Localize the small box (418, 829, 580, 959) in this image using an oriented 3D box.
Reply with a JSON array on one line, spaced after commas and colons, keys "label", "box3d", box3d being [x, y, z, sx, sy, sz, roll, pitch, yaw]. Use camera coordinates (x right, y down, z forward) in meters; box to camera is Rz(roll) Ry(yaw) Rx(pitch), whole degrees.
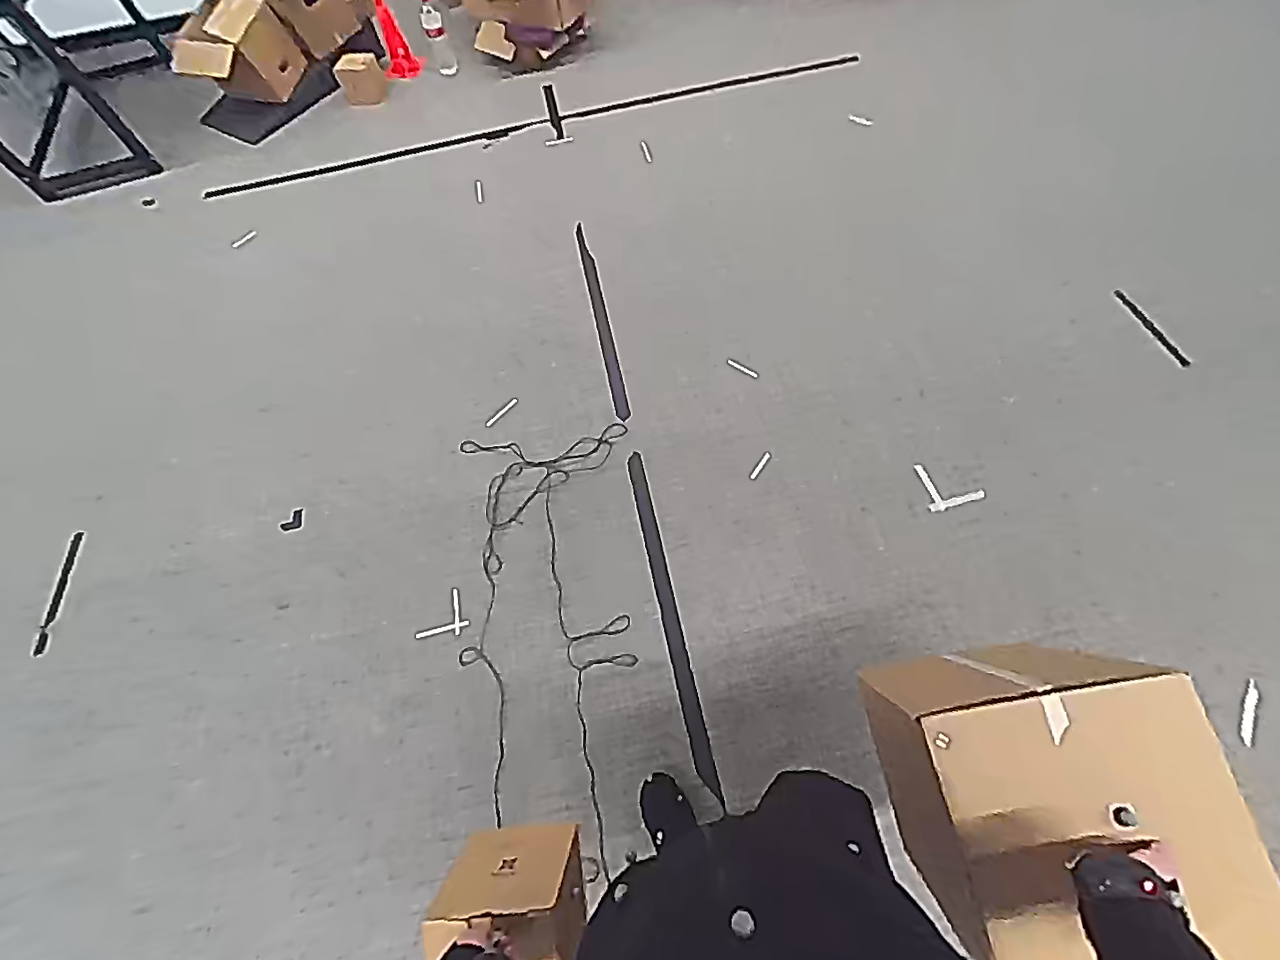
[{"label": "small box", "box3d": [-0.177, 0.613, 0.729, 0.168, 0.179, 0.176, -5, 88, 2]}]
